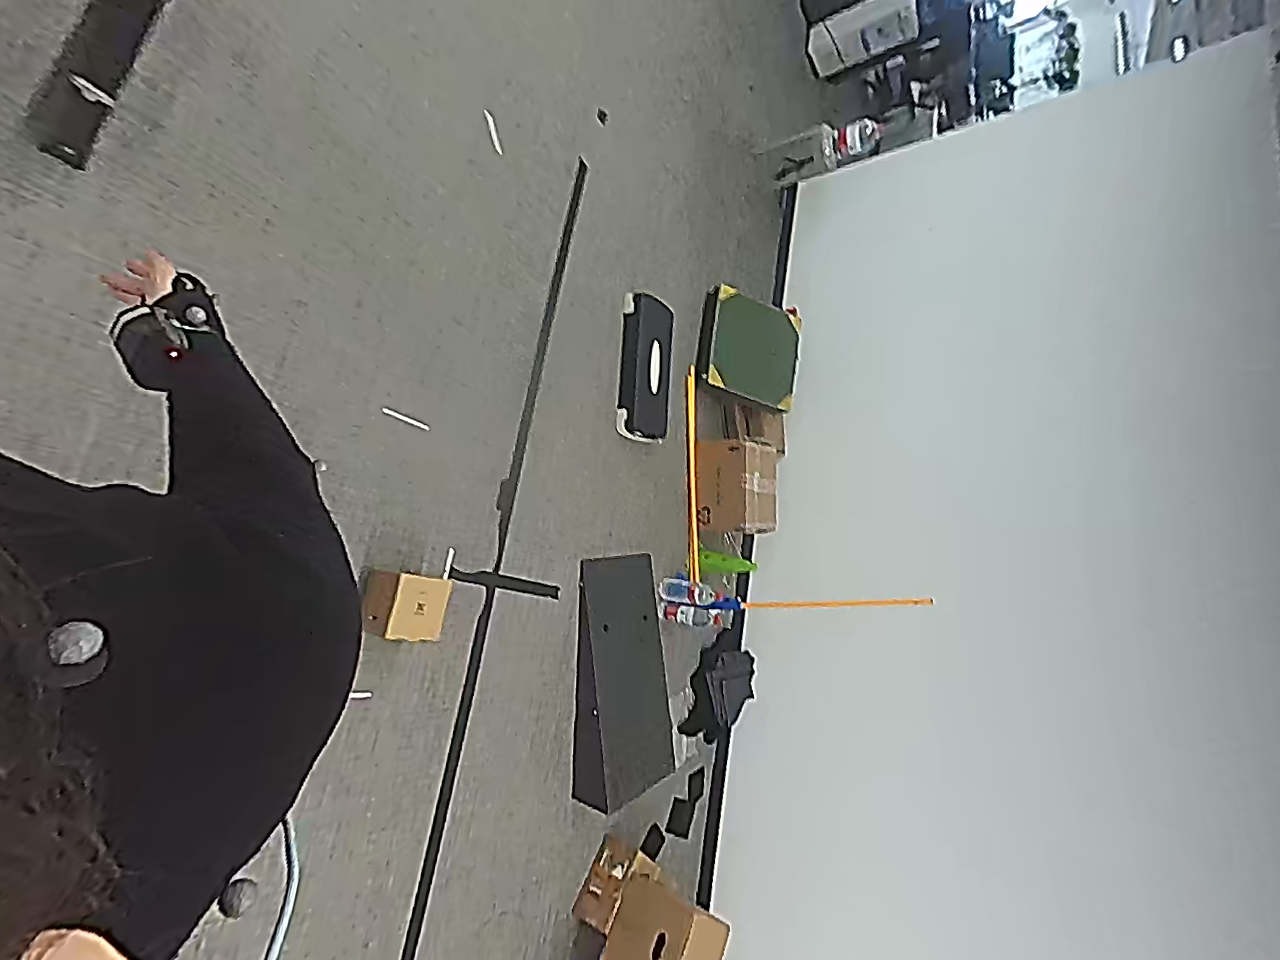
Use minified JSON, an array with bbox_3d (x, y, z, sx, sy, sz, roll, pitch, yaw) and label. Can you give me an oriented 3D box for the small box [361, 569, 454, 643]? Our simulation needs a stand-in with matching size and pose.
[{"bbox_3d":[-0.667,0.359,1.543,0.168,0.176,0.179,25,70,-51],"label":"small box"}]
